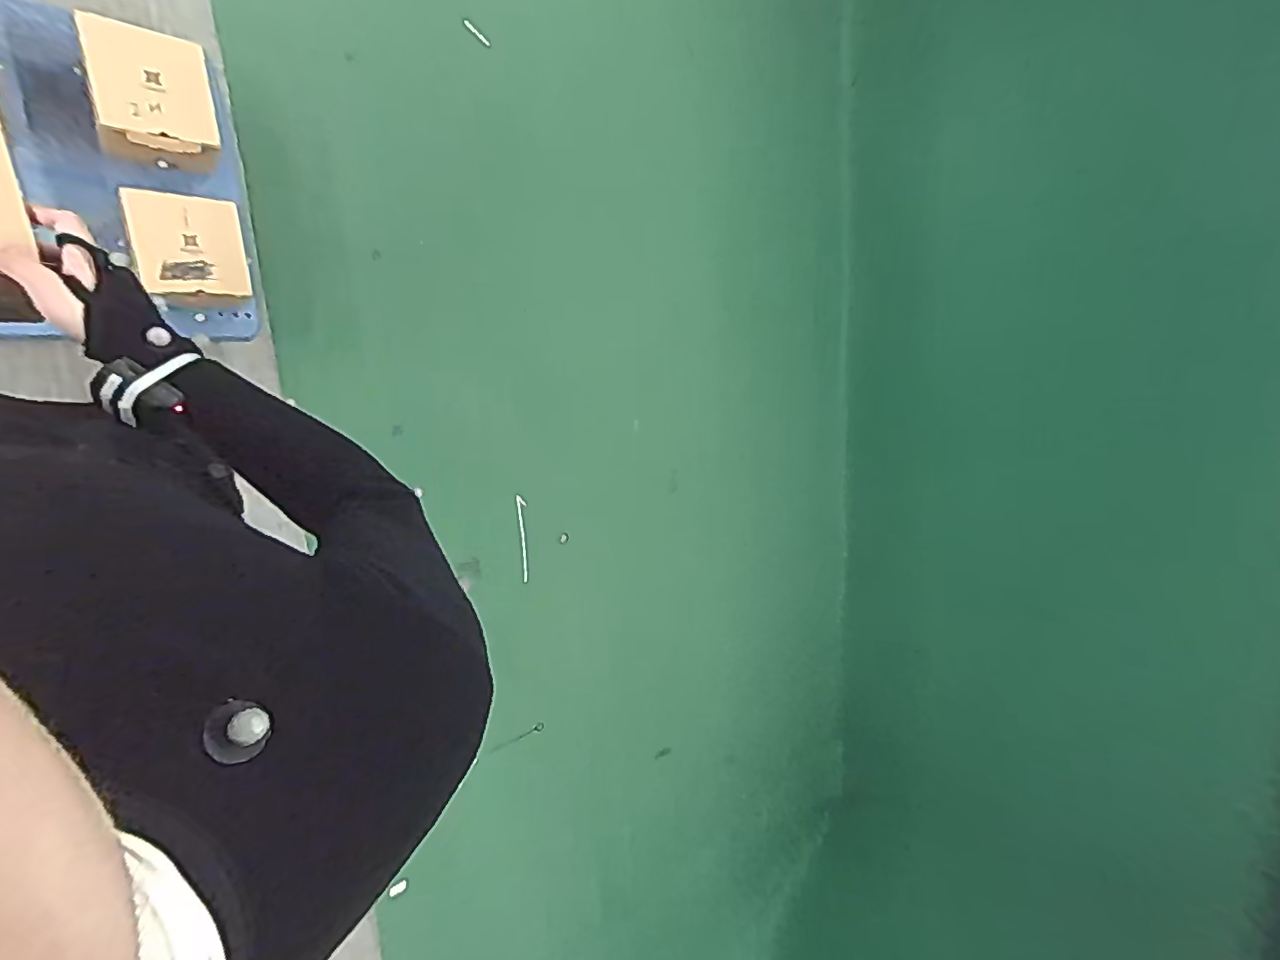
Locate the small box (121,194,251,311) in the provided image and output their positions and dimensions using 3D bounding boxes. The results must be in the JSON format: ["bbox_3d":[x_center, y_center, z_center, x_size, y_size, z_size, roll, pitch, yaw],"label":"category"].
[{"bbox_3d":[-0.895,-0.436,1.069,0.168,0.176,0.179,-14,104,-42],"label":"small box"}]

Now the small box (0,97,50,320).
[{"bbox_3d":[-0.638,-0.239,0.456,0.168,0.176,0.179,-17,101,-47],"label":"small box"}]

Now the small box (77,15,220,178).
[{"bbox_3d":[-0.907,-0.693,1.003,0.168,0.176,0.179,-13,104,-41],"label":"small box"}]
